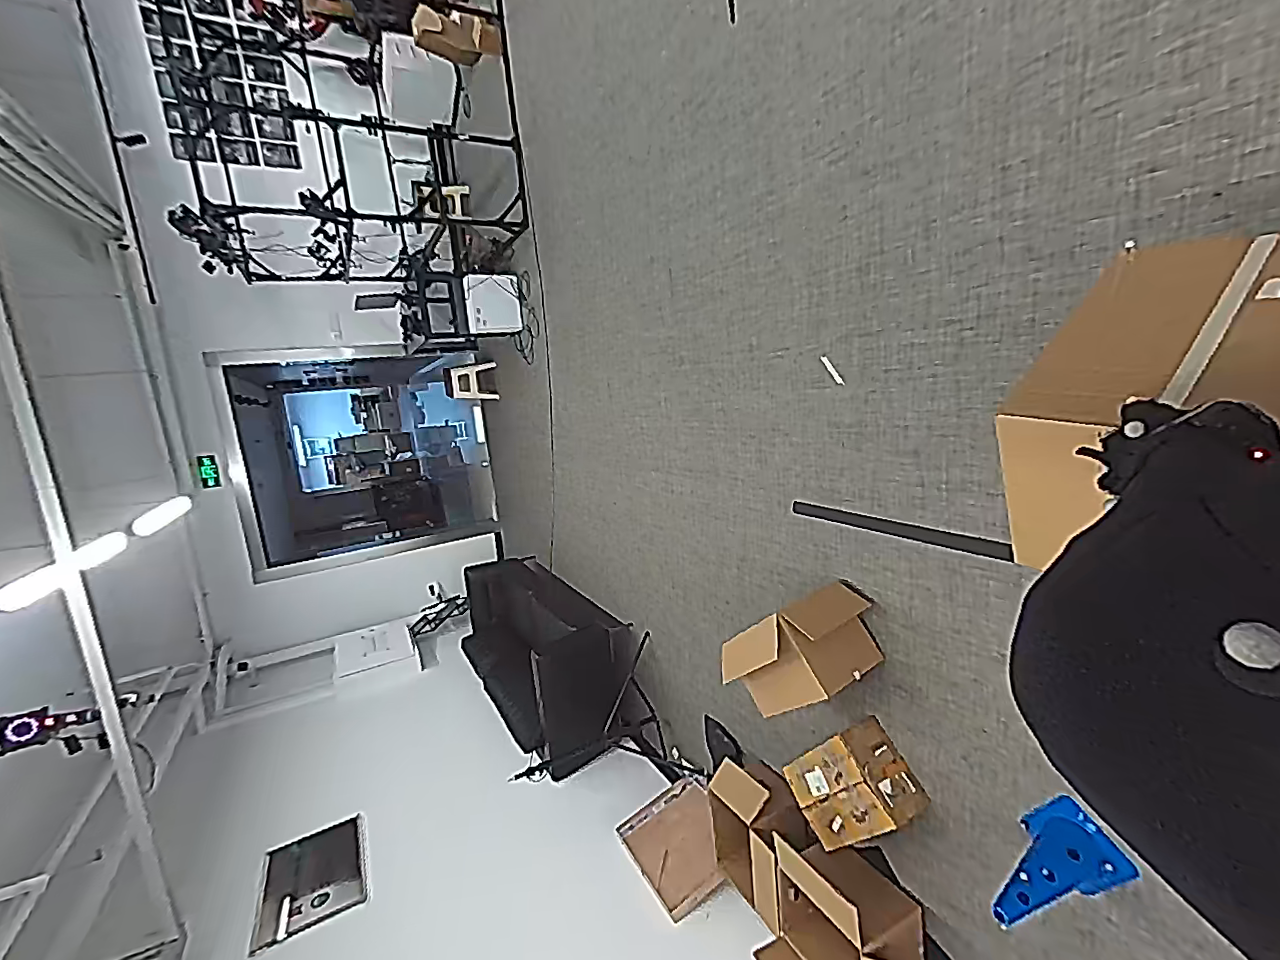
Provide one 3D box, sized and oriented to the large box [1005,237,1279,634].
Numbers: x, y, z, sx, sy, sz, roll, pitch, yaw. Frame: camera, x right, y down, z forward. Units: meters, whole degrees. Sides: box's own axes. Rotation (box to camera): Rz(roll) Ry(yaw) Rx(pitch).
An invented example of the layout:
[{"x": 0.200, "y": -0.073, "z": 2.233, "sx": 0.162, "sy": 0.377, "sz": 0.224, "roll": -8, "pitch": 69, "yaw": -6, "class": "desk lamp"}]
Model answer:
[{"x": 0.756, "y": -0.073, "z": 0.723, "sx": 0.320, "sy": 0.408, "sz": 0.320, "roll": 21, "pitch": 149, "yaw": 51, "class": "large box"}]
